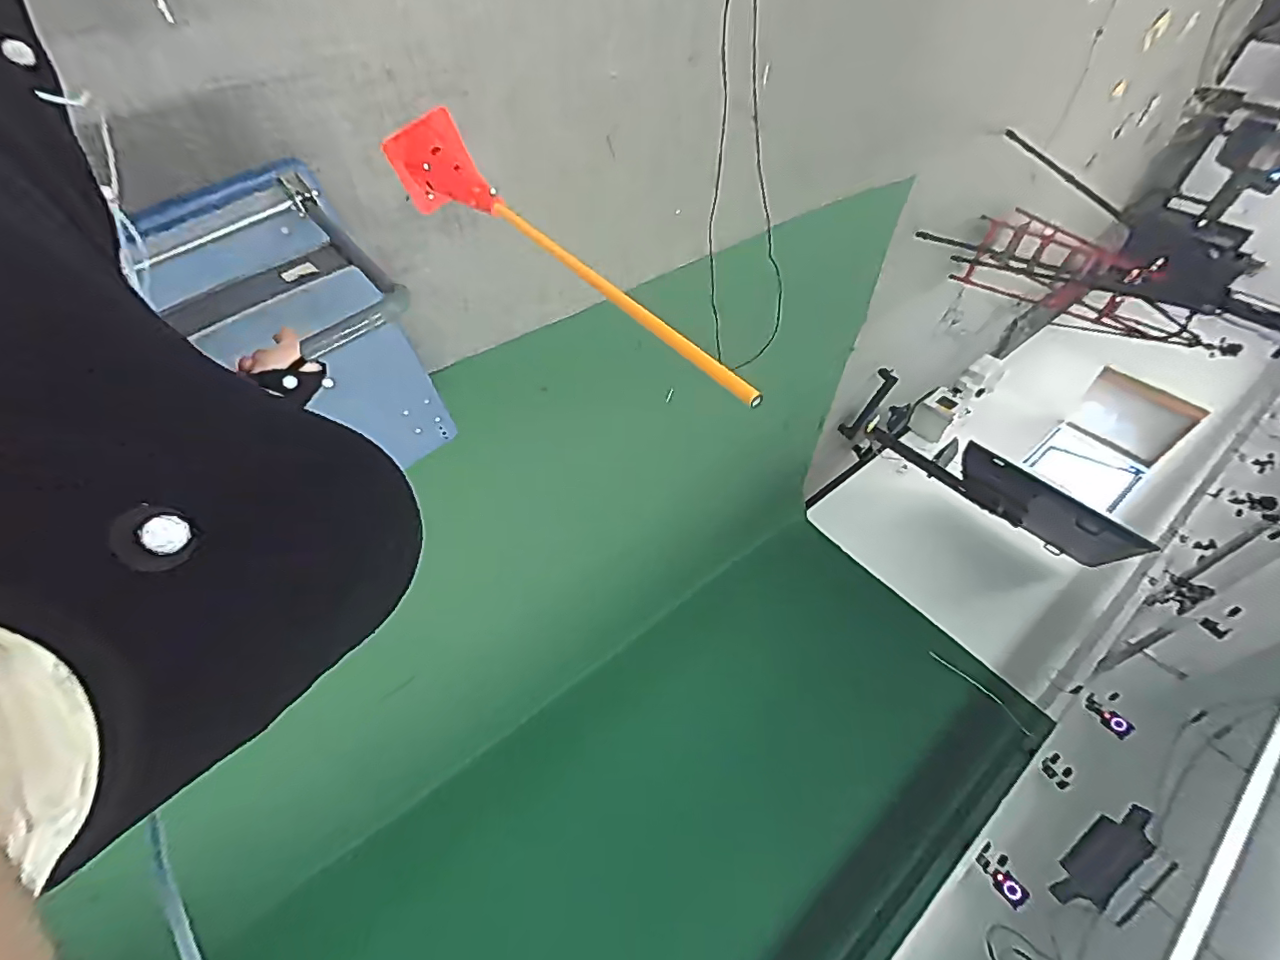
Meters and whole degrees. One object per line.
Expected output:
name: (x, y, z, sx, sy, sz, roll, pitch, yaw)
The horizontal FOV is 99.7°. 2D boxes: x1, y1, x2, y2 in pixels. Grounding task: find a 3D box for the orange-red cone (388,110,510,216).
orange-red cone: (-0.430, -0.739, 1.344, 0.199, 0.360, 0.198, -41, 150, -12)
